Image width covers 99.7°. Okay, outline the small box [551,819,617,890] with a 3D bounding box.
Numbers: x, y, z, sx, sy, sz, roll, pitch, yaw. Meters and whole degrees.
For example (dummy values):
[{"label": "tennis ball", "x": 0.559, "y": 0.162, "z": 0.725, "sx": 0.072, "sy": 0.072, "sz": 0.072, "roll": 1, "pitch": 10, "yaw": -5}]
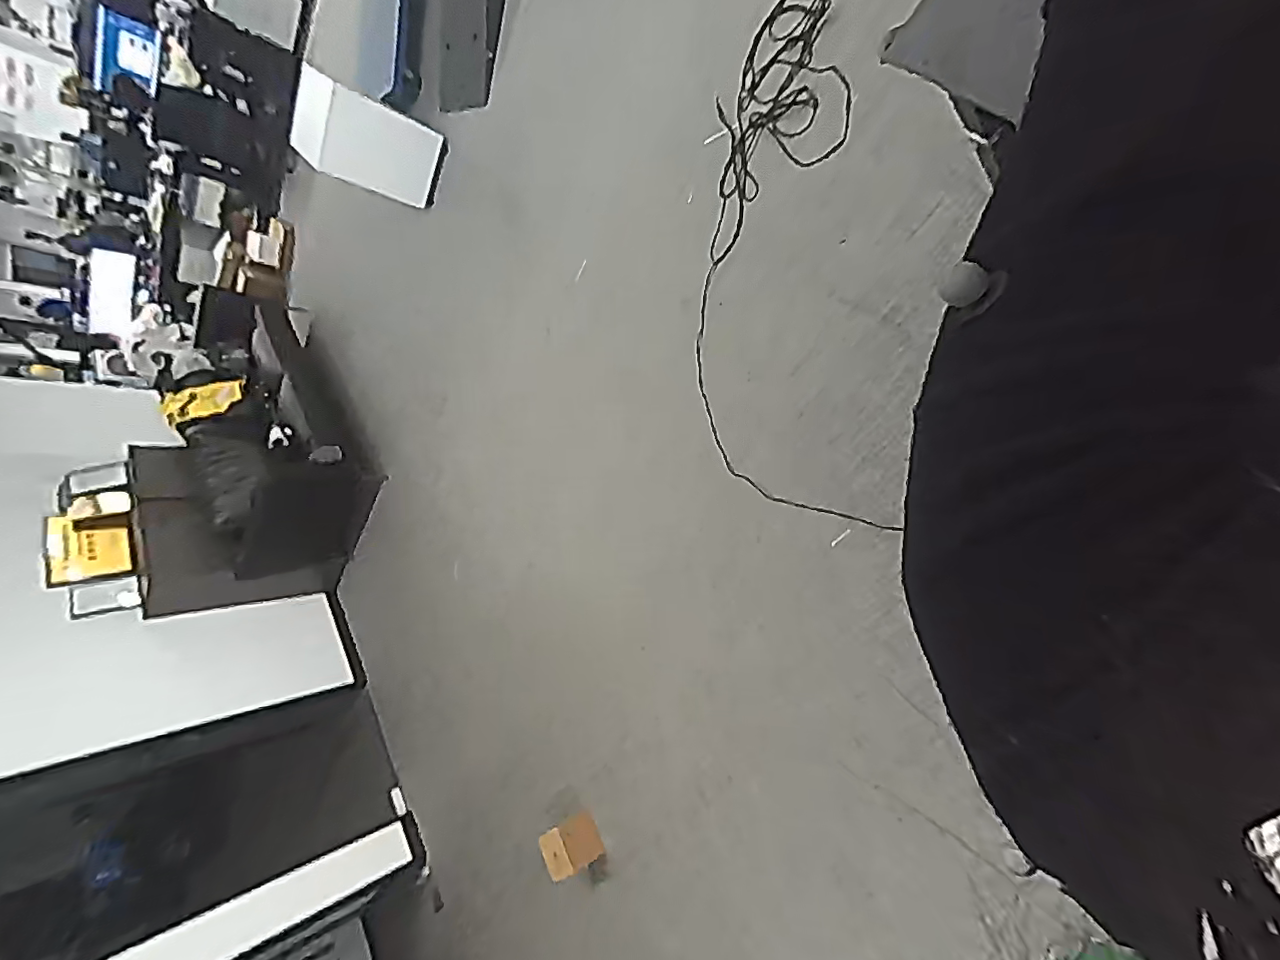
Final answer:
[{"label": "small box", "x": -0.228, "y": 1.517, "z": 2.204, "sx": 0.168, "sy": 0.176, "sz": 0.179, "roll": -50, "pitch": 59, "yaw": 31}]
